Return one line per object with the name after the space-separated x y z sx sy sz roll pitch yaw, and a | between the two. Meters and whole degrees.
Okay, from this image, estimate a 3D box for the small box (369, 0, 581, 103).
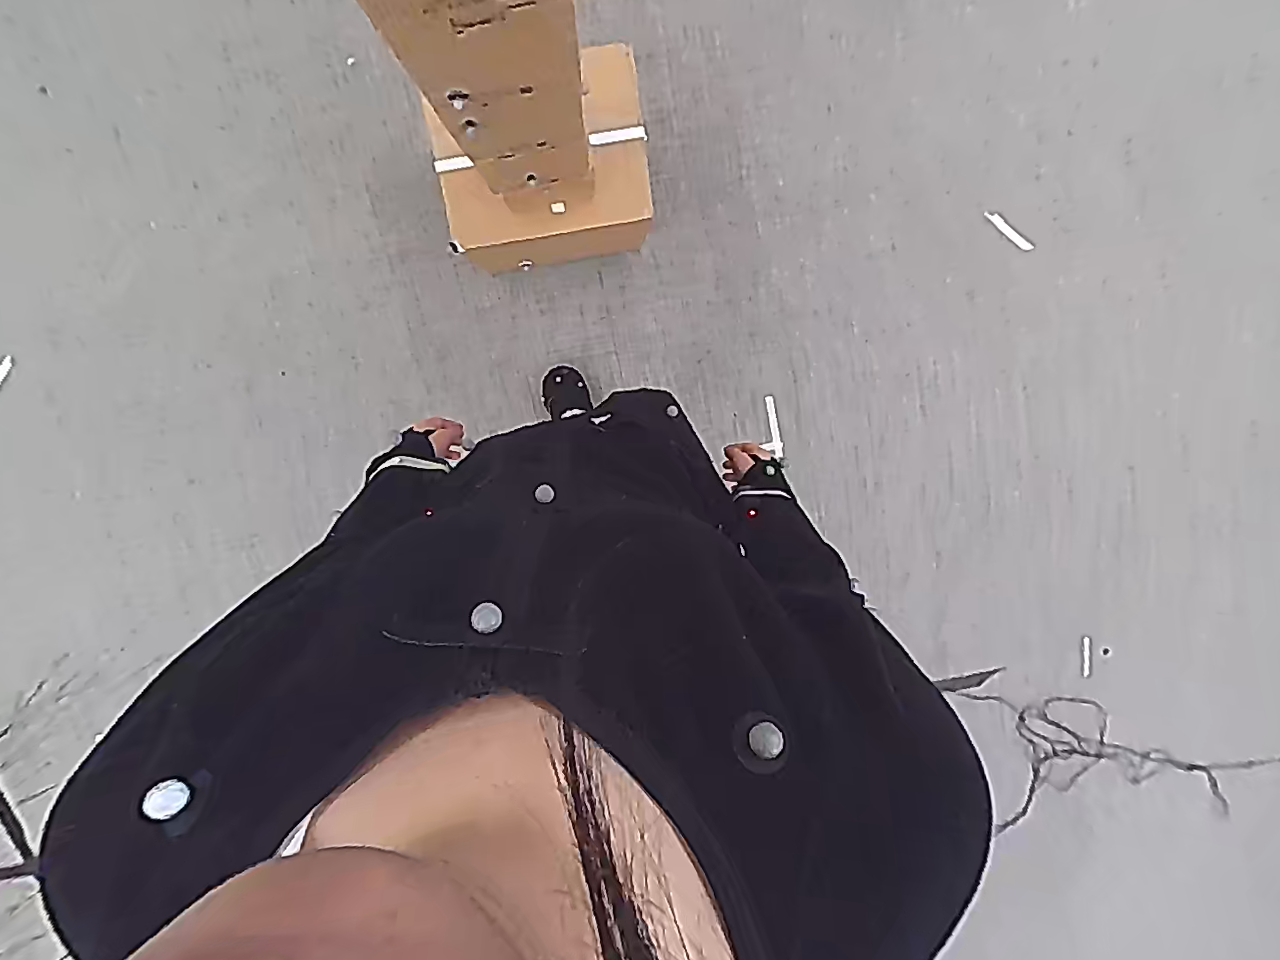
-0.150 -0.476 0.492 0.168 0.176 0.179 -10 103 -2 | small box

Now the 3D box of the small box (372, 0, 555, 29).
-0.138 -0.436 0.333 0.168 0.176 0.179 -12 105 0 | small box

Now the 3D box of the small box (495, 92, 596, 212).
-0.179 -0.598 0.967 0.179 0.176 0.168 -13 104 -2 | small box

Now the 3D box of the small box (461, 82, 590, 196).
-0.172 -0.554 0.810 0.168 0.176 0.179 -12 104 -1 | small box
